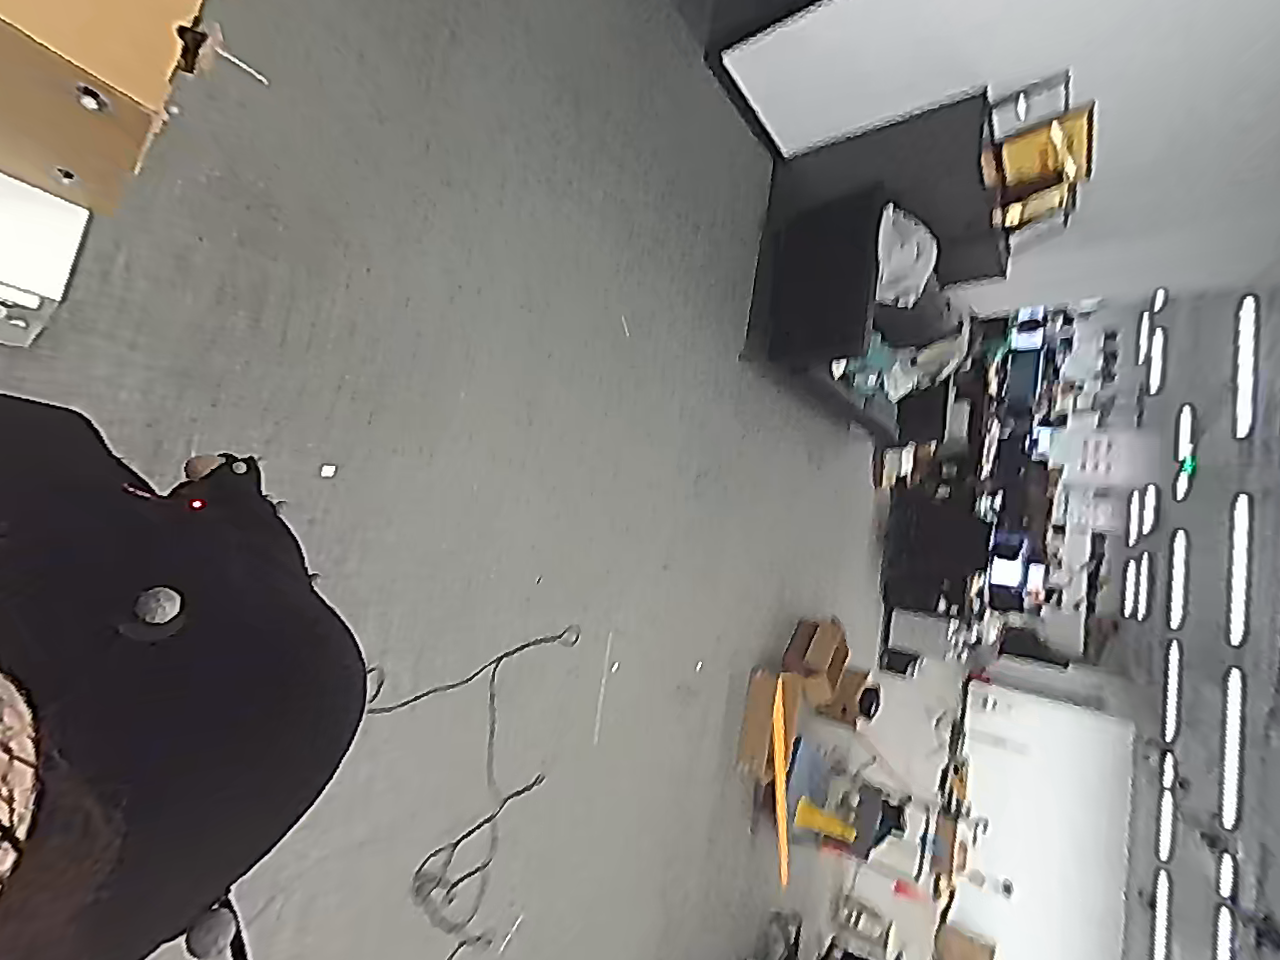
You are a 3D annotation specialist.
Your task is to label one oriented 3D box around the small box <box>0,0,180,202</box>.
[{"bbox_3d":[-0.633,-0.423,0.566,0.179,0.176,0.168,20,77,-49],"label":"small box"}]
